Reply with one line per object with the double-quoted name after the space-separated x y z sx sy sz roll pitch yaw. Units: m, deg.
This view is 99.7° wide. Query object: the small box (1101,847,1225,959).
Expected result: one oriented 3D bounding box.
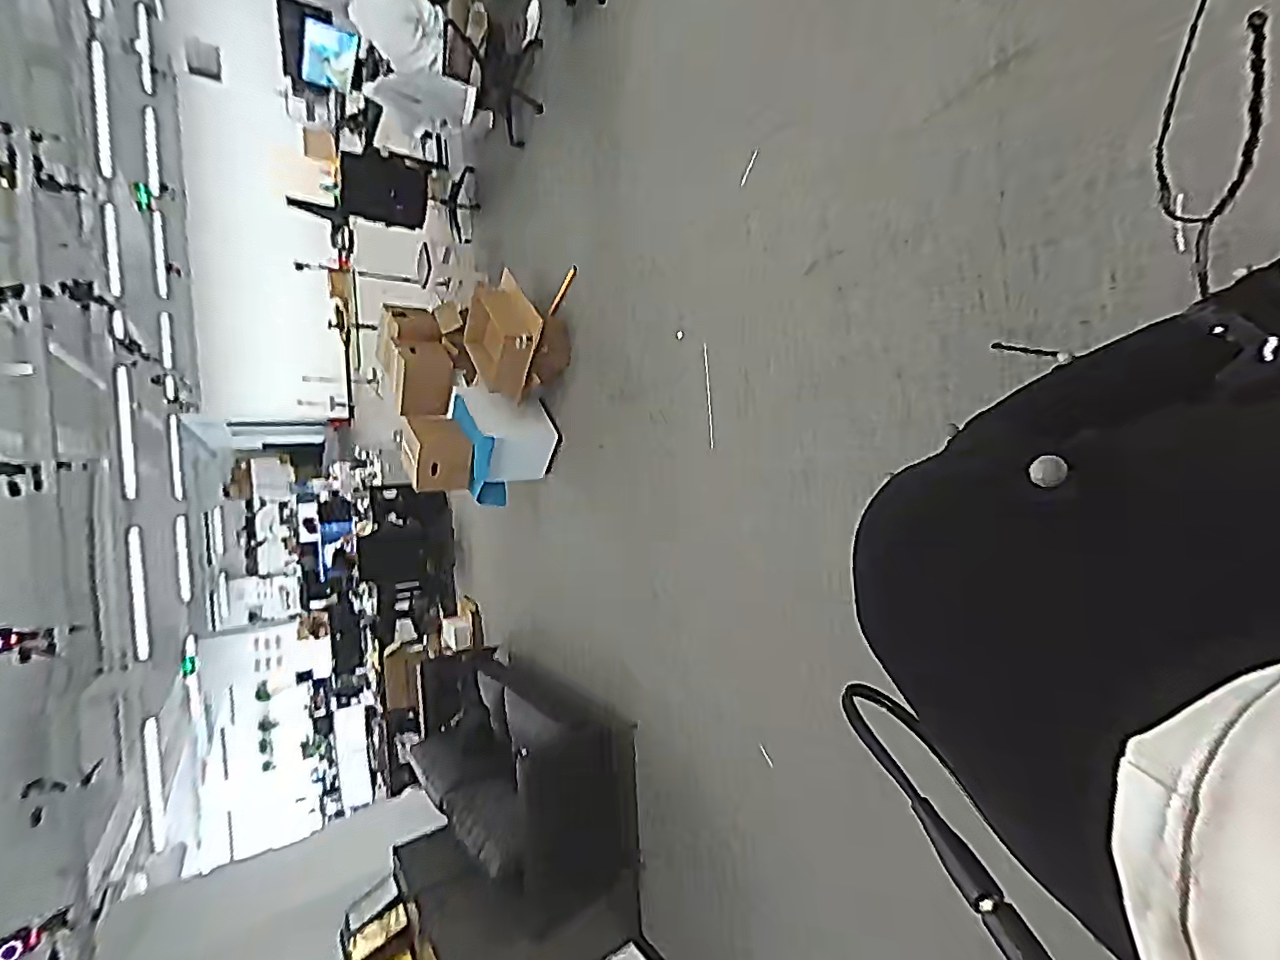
1.157 0.960 1.196 0.179 0.176 0.168 0 93 56 "small box"
